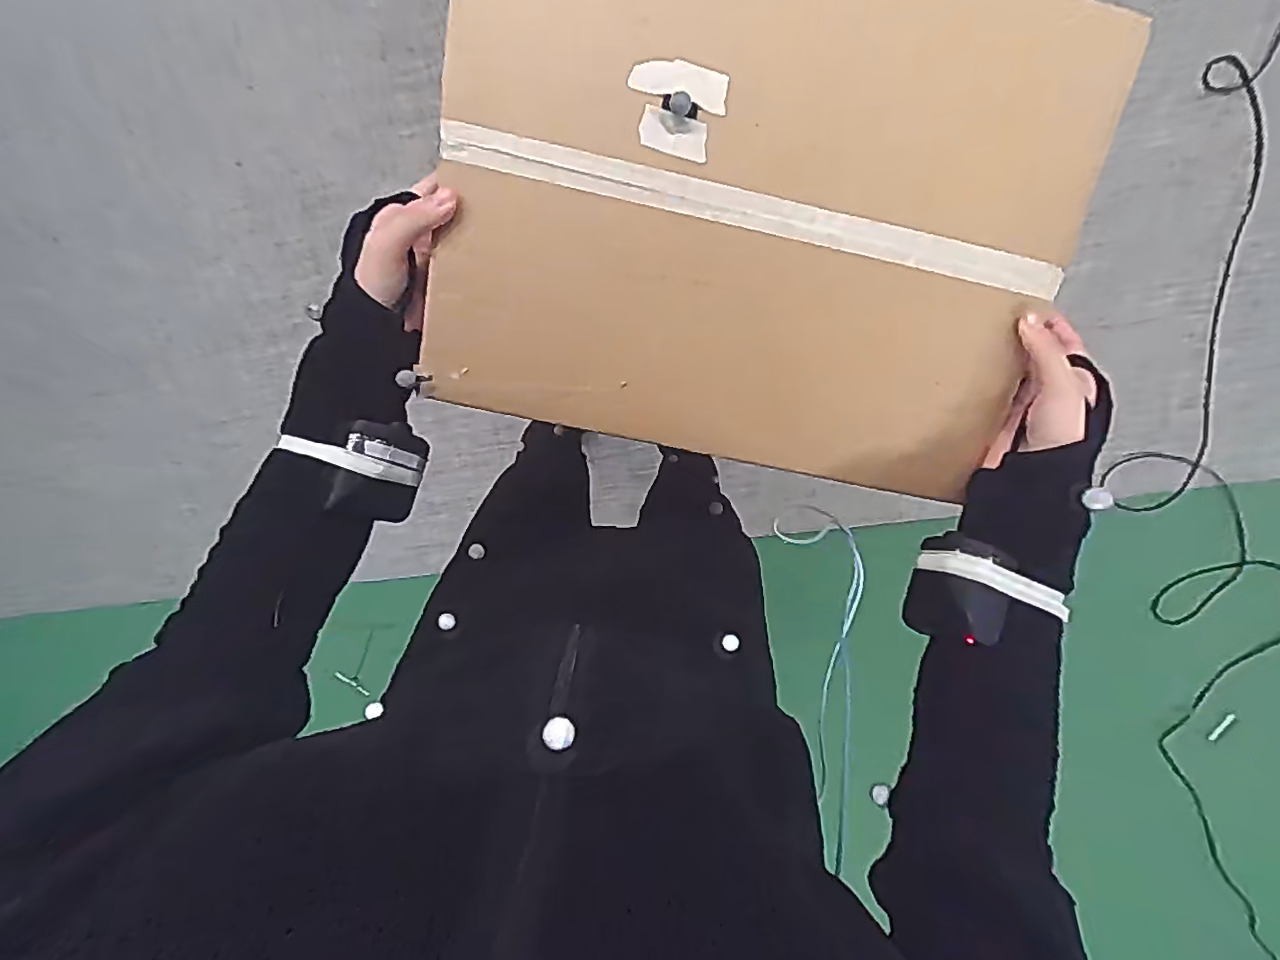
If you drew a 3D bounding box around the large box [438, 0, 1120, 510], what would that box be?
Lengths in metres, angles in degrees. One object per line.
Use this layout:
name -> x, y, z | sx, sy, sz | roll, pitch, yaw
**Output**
large box -> 0.077, -0.196, 0.506 | 0.408, 0.320, 0.320 | 12, 105, -4
